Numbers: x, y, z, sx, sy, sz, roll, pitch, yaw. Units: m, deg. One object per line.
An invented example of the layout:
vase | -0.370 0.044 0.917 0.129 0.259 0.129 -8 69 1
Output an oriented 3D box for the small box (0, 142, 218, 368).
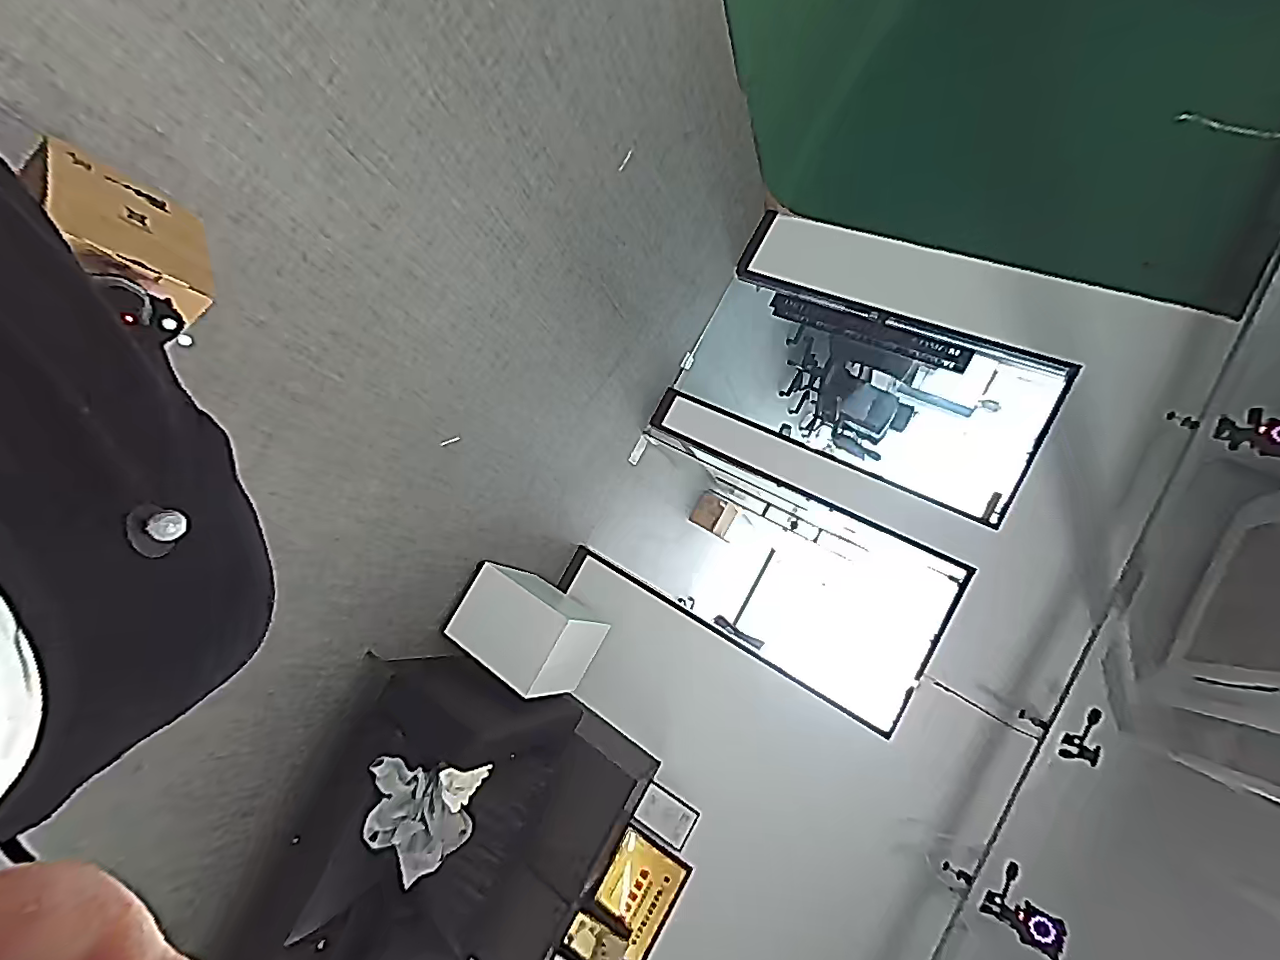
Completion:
small box | -0.701 -0.278 0.709 0.176 0.179 0.168 -35 158 17
